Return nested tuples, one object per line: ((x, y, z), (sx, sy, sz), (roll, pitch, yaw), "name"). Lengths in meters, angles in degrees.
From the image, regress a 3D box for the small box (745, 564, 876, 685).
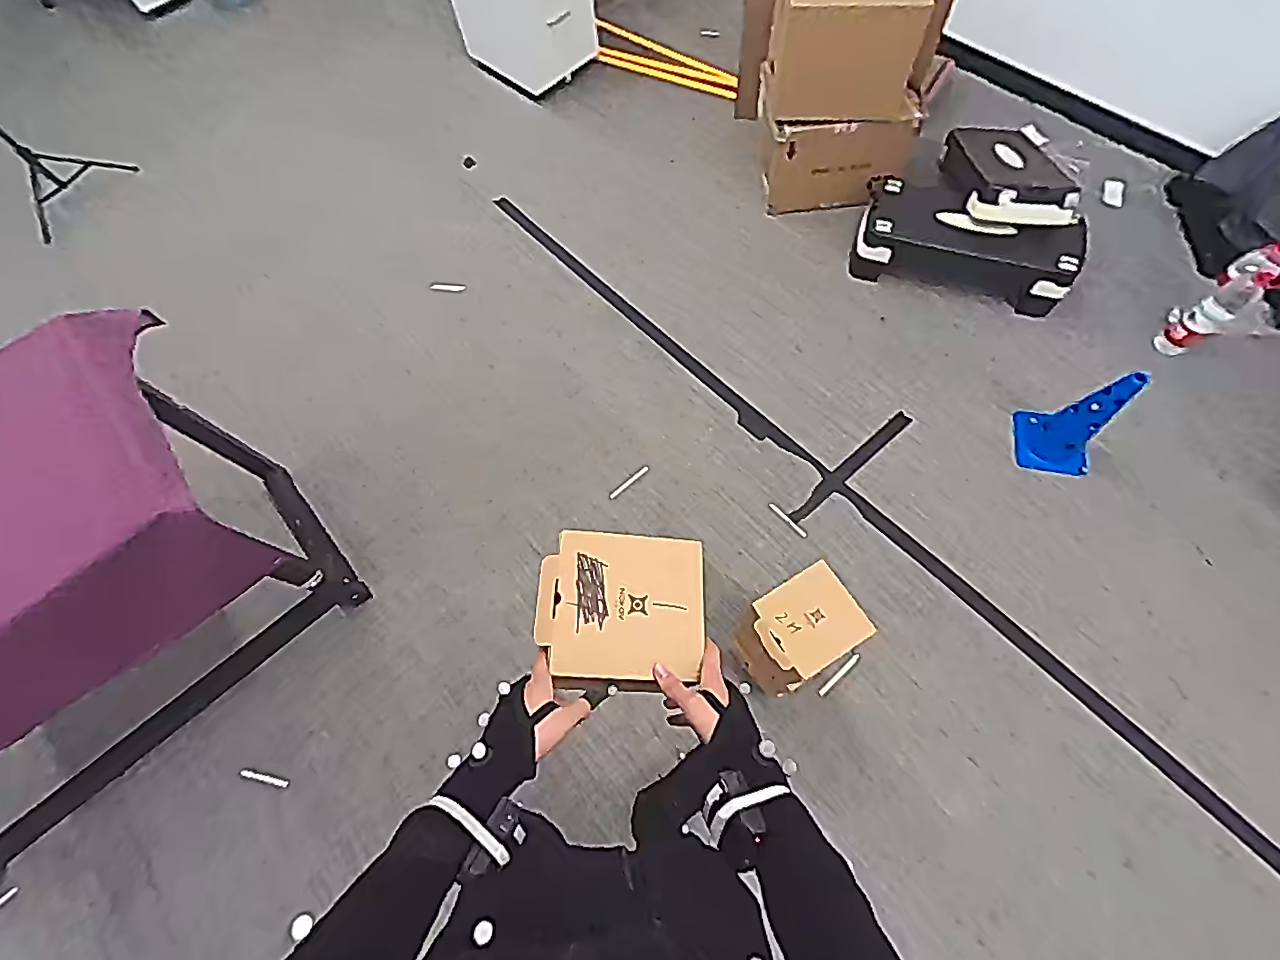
((0.332, 0.297, 1.097), (0.179, 0.176, 0.168), (-29, 68, -9), "small box")

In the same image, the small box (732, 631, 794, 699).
((0.351, 0.445, 1.392), (0.179, 0.176, 0.168), (-35, 69, -11), "small box")

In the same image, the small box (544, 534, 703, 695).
((-0.027, 0.178, 0.686), (0.179, 0.176, 0.168), (6, 65, -9), "small box")
